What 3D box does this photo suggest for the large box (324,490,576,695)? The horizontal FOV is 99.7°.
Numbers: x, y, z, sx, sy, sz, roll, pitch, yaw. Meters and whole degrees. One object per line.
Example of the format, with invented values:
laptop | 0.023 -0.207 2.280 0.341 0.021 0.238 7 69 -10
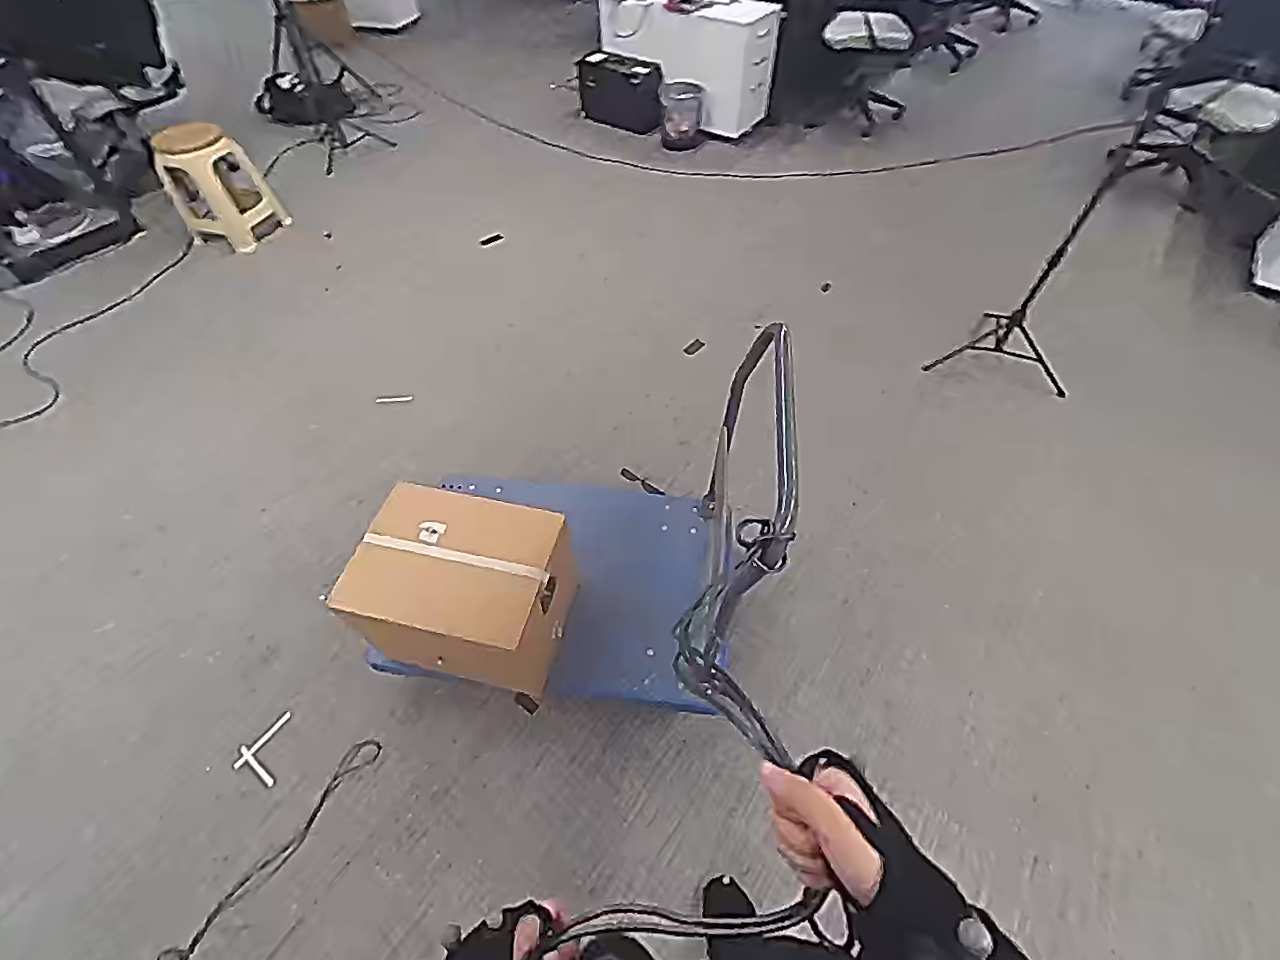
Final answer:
large box | -0.388 0.259 1.230 0.408 0.320 0.320 10 53 8
